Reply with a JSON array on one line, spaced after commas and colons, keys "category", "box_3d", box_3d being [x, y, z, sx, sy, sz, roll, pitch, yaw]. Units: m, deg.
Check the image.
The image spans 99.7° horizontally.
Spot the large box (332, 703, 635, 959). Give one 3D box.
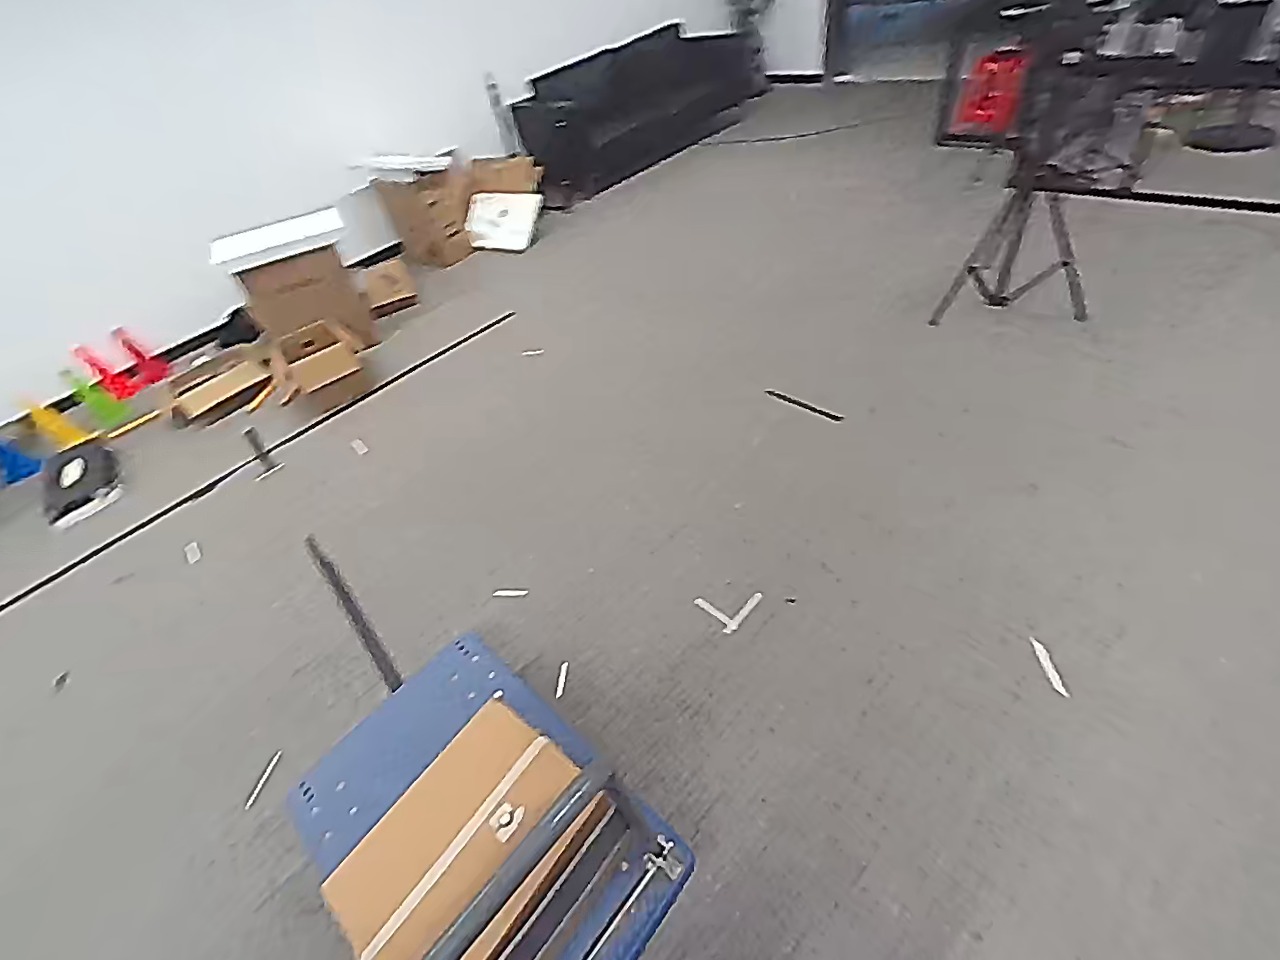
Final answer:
[{"category": "large box", "box_3d": [-0.266, 0.736, 1.034, 0.320, 0.320, 0.408, 24, 54, 32]}]
